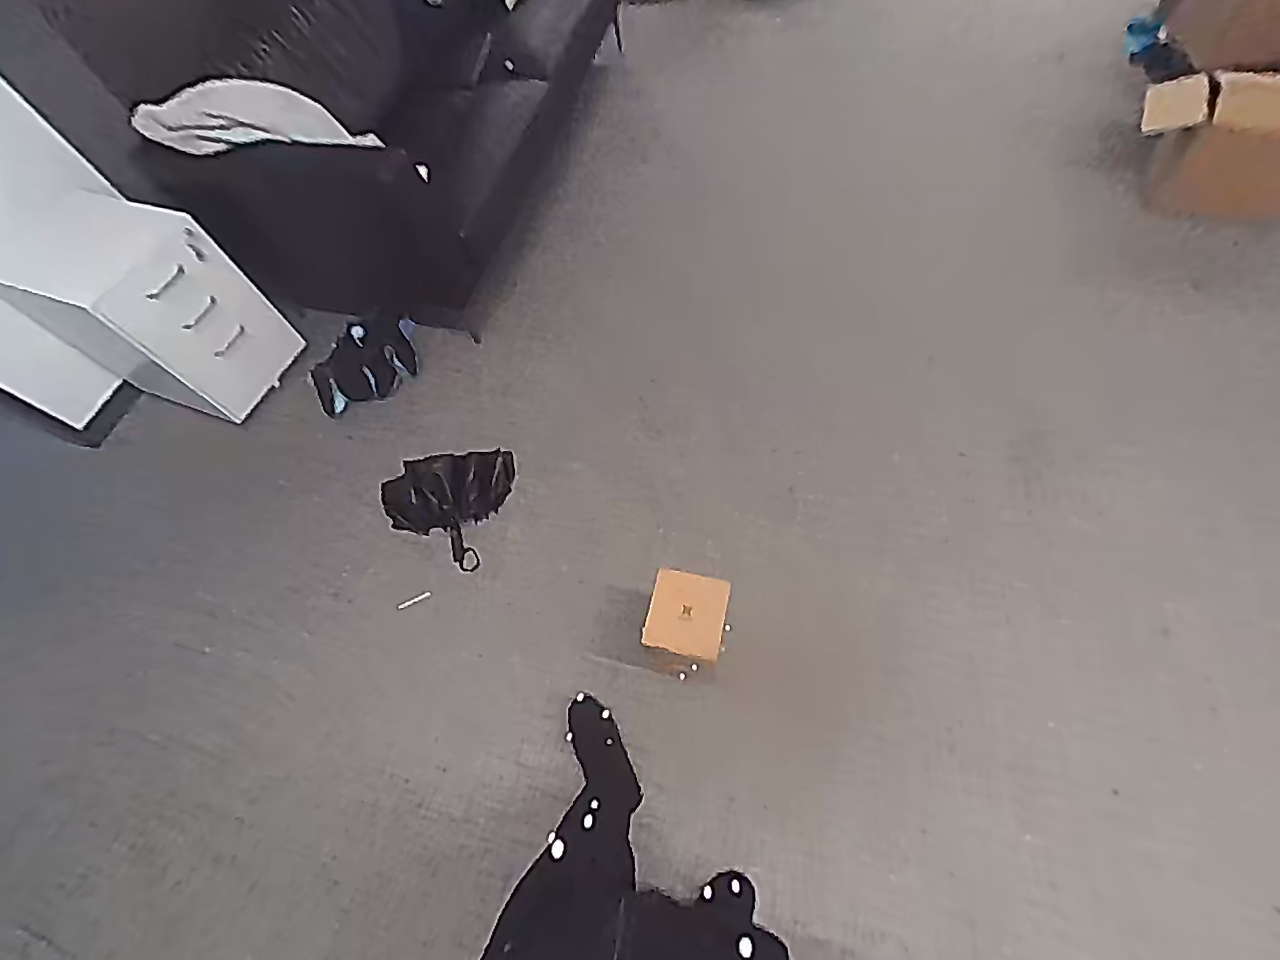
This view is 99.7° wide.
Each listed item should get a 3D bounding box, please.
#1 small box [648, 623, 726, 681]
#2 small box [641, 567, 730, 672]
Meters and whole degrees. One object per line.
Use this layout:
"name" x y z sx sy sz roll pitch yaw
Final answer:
"small box" 0.125 0.398 1.368 0.168 0.176 0.179 9 64 11
"small box" 0.108 0.321 1.226 0.168 0.176 0.179 9 62 11
